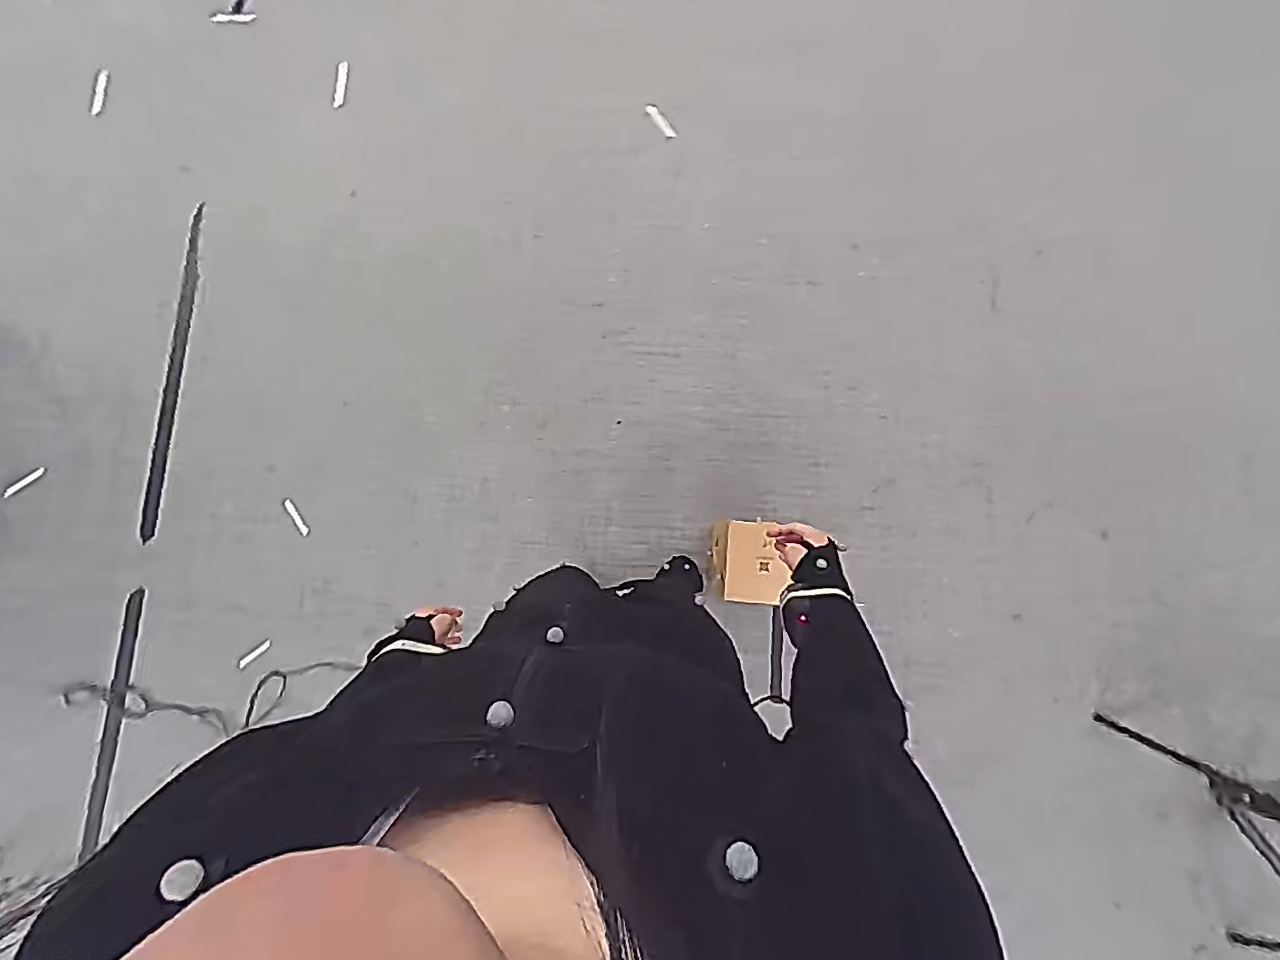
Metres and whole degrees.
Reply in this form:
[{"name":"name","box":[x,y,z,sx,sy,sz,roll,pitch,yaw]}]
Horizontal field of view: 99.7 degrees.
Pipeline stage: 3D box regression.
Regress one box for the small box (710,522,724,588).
[{"name":"small box","box":[0.277,0.203,1.403,0.179,0.176,0.168,5,85,4]}]

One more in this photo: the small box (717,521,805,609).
[{"name":"small box","box":[0.270,0.188,1.237,0.168,0.176,0.179,5,84,3]}]
